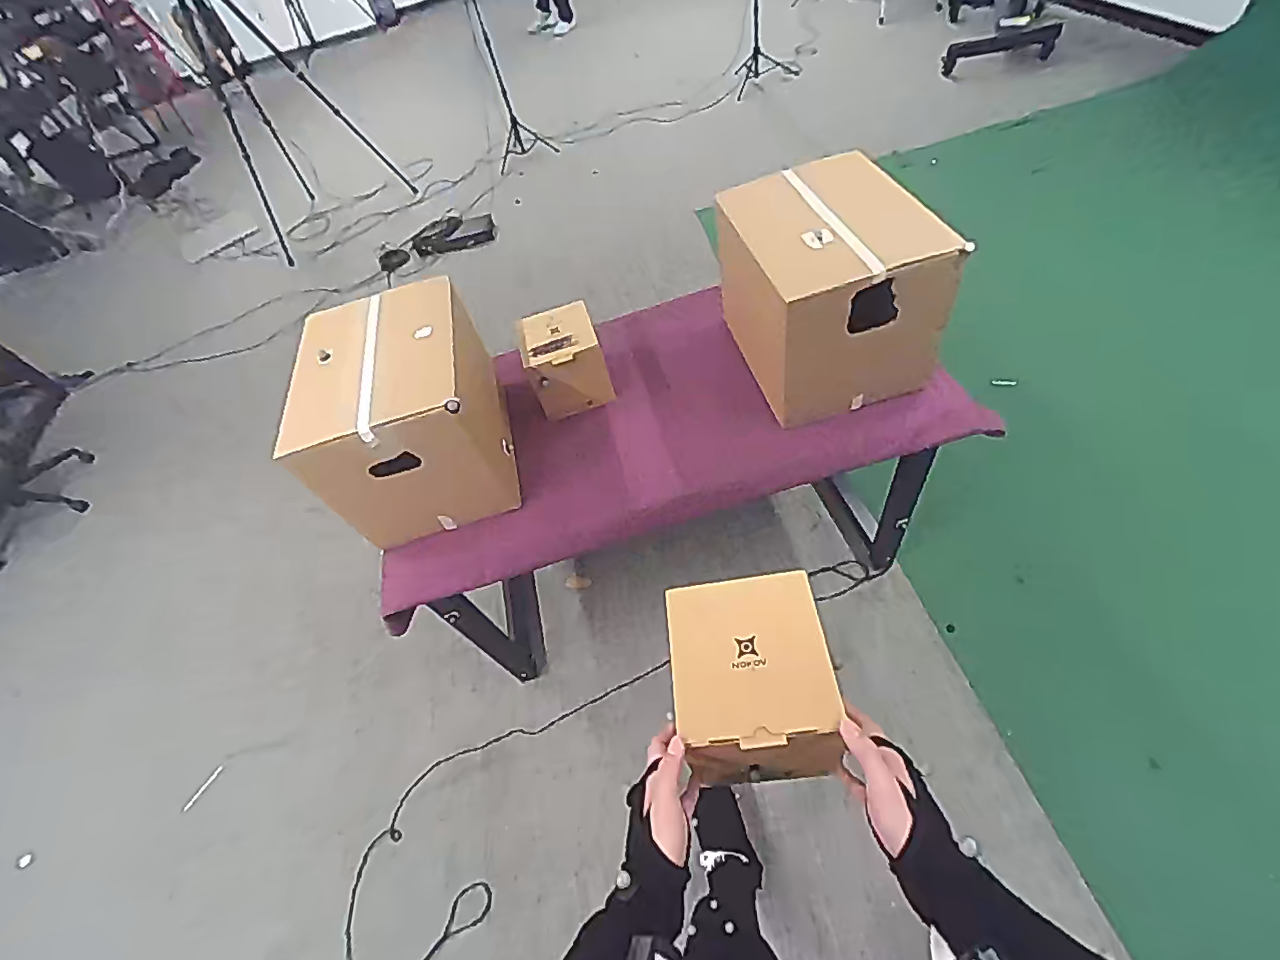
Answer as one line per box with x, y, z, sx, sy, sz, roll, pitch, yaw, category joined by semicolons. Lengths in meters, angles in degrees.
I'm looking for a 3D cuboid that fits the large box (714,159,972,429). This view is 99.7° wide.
0.367;-0.377;1.103;0.320;0.320;0.408;-17;53;1;large box

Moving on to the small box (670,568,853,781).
0.132;0.229;0.629;0.168;0.176;0.179;-10;49;7;small box
